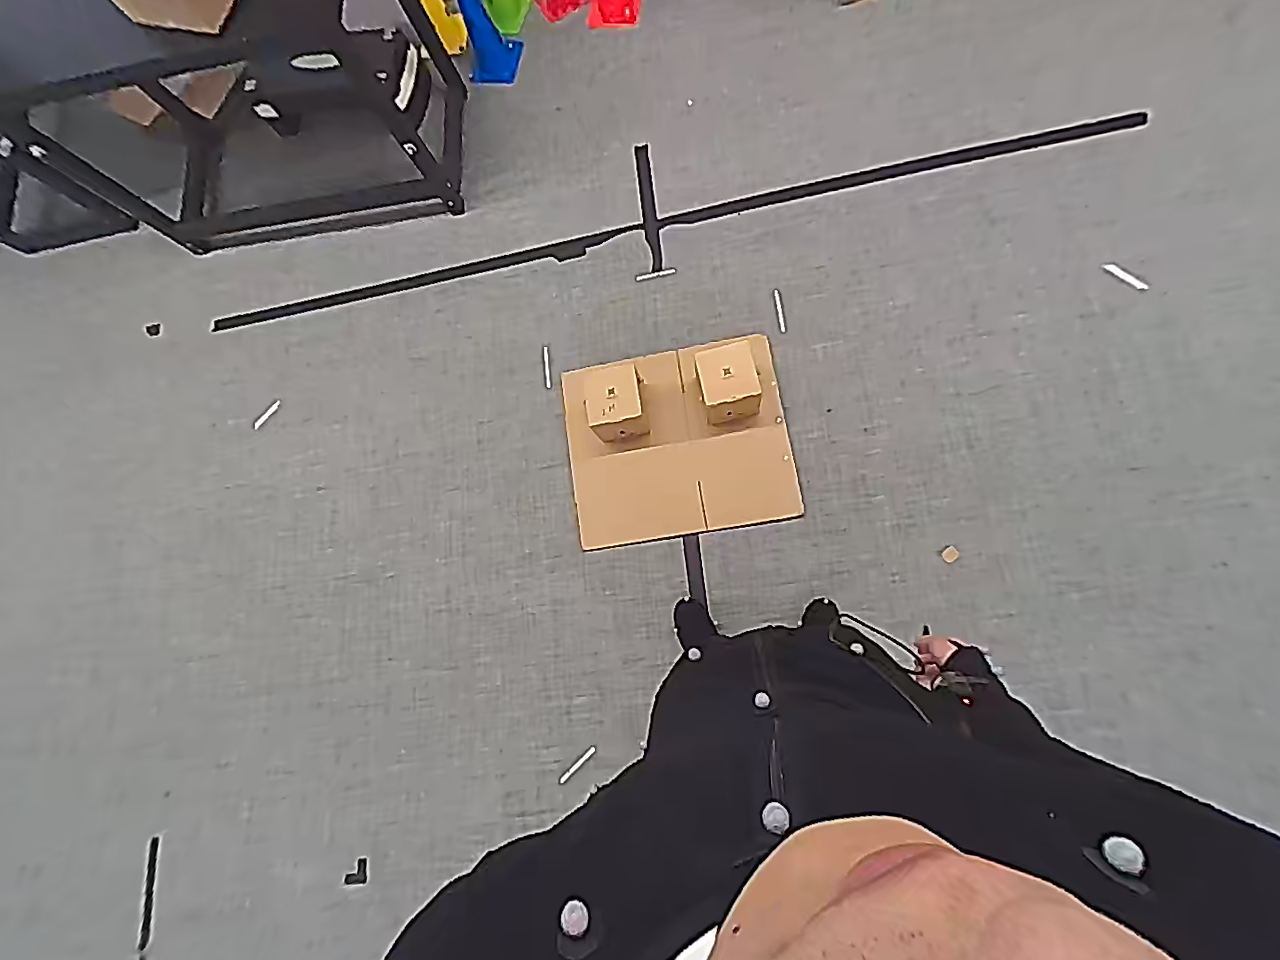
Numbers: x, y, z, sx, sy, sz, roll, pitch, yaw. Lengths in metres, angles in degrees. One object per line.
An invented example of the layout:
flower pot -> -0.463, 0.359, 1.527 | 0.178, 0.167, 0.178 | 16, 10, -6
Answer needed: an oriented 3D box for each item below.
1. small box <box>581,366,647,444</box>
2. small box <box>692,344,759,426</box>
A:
small box -> -0.079, -0.230, 1.693 | 0.168, 0.176, 0.179 | -11, 77, 8
small box -> 0.259, -0.285, 1.657 | 0.168, 0.176, 0.179 | -14, 76, 6
